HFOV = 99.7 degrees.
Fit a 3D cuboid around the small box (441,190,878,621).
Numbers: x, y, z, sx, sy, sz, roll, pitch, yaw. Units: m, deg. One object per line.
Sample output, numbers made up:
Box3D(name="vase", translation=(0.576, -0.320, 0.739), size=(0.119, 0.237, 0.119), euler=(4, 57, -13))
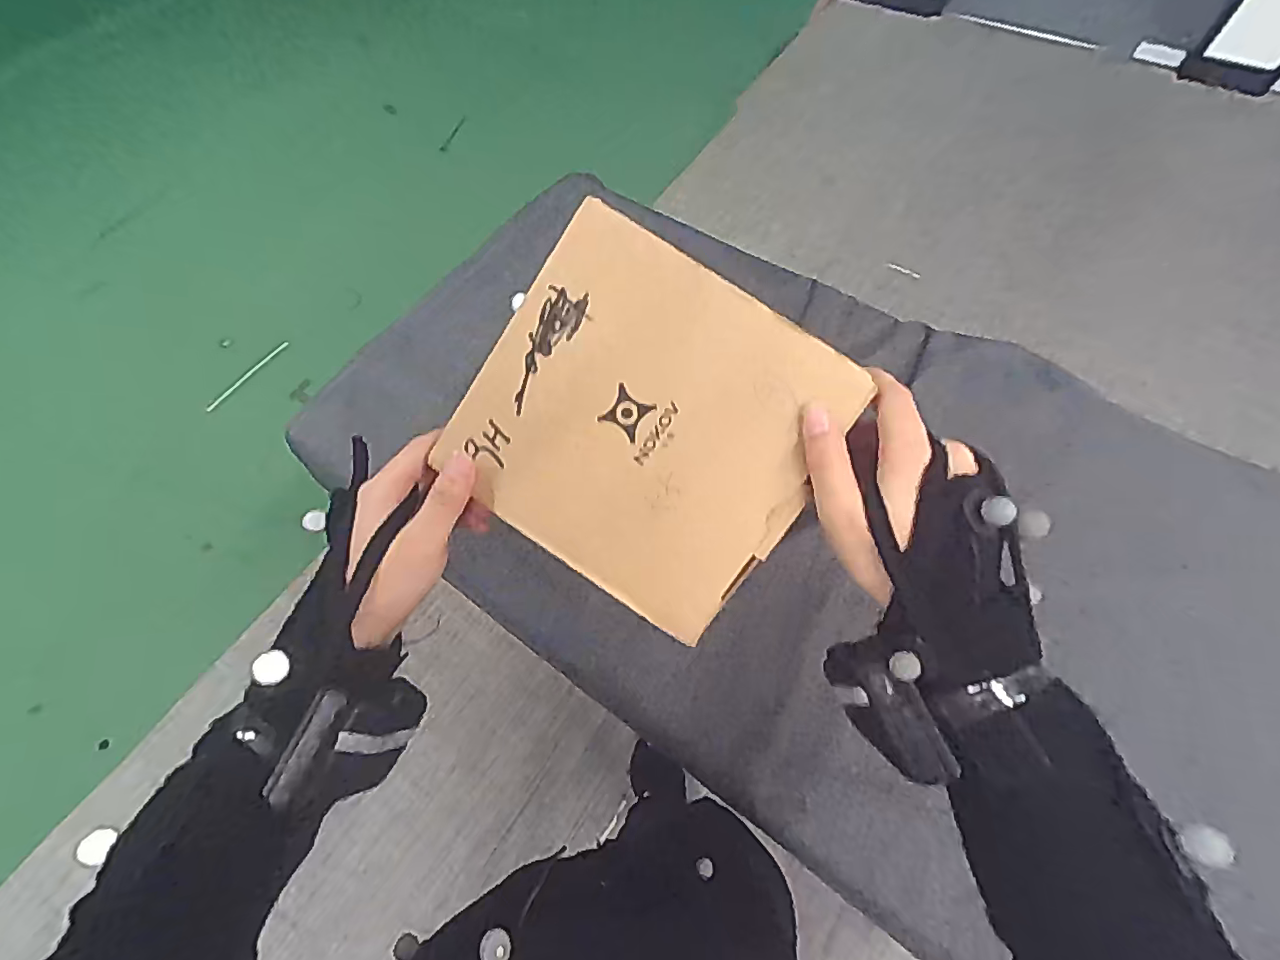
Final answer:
Box3D(name="small box", translation=(0.014, -0.042, 0.363), size=(0.179, 0.176, 0.168), euler=(36, 95, 4))
